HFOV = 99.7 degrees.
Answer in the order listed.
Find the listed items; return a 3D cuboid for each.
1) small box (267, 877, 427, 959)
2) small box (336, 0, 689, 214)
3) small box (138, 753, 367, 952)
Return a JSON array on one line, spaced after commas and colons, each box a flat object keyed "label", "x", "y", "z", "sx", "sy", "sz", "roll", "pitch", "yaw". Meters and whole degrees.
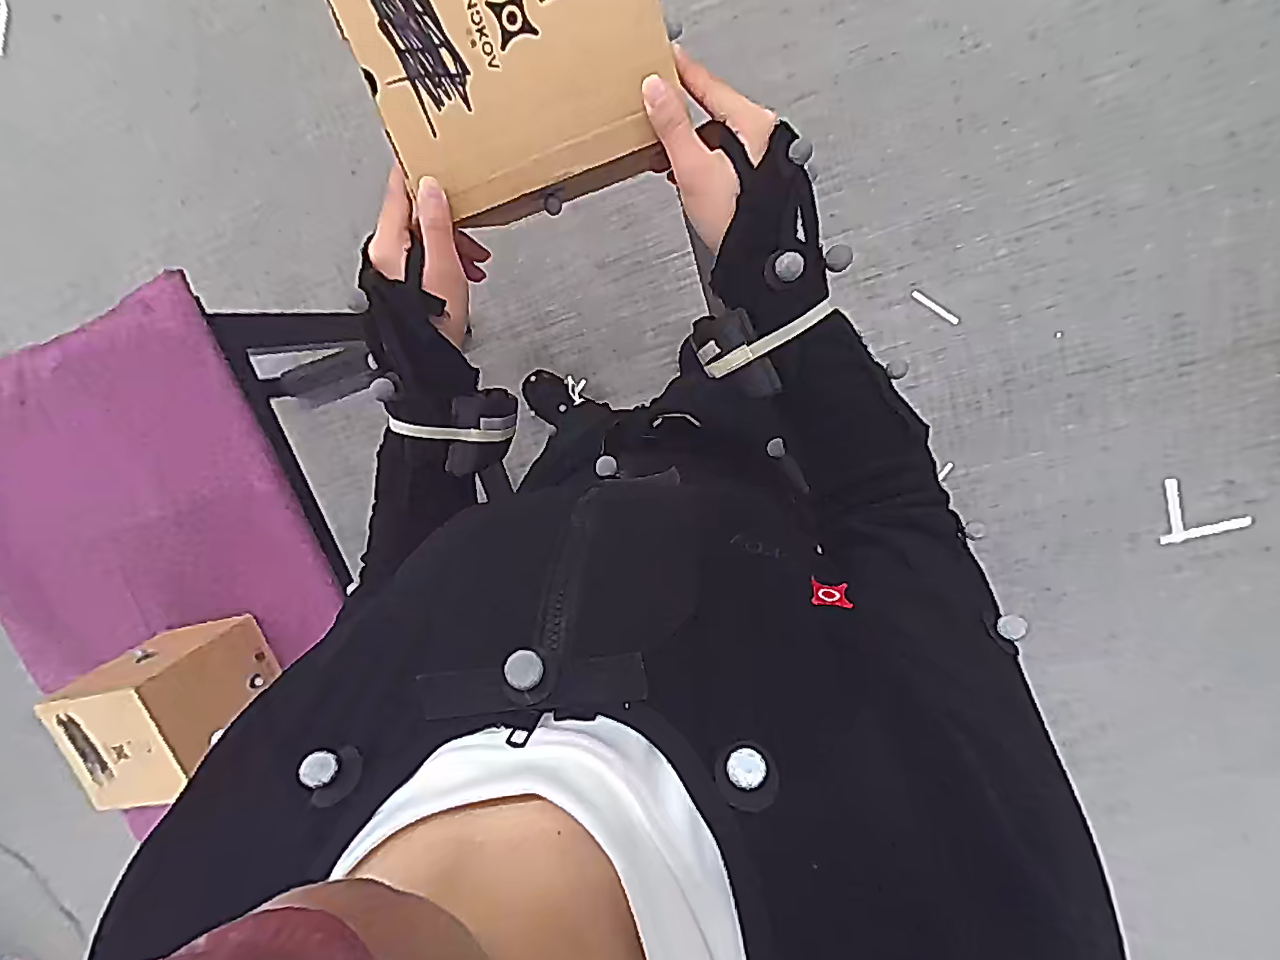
[{"label": "small box", "x": -0.463, "y": 0.762, "z": 0.842, "sx": 0.179, "sy": 0.176, "sz": 0.168, "roll": -22, "pitch": 101, "yaw": 15}, {"label": "small box", "x": -0.069, "y": -0.290, "z": 0.365, "sx": 0.179, "sy": 0.176, "sz": 0.168, "roll": -14, "pitch": 114, "yaw": 10}, {"label": "small box", "x": -0.545, "y": 0.525, "z": 0.785, "sx": 0.168, "sy": 0.176, "sz": 0.179, "roll": -18, "pitch": 102, "yaw": 15}]
